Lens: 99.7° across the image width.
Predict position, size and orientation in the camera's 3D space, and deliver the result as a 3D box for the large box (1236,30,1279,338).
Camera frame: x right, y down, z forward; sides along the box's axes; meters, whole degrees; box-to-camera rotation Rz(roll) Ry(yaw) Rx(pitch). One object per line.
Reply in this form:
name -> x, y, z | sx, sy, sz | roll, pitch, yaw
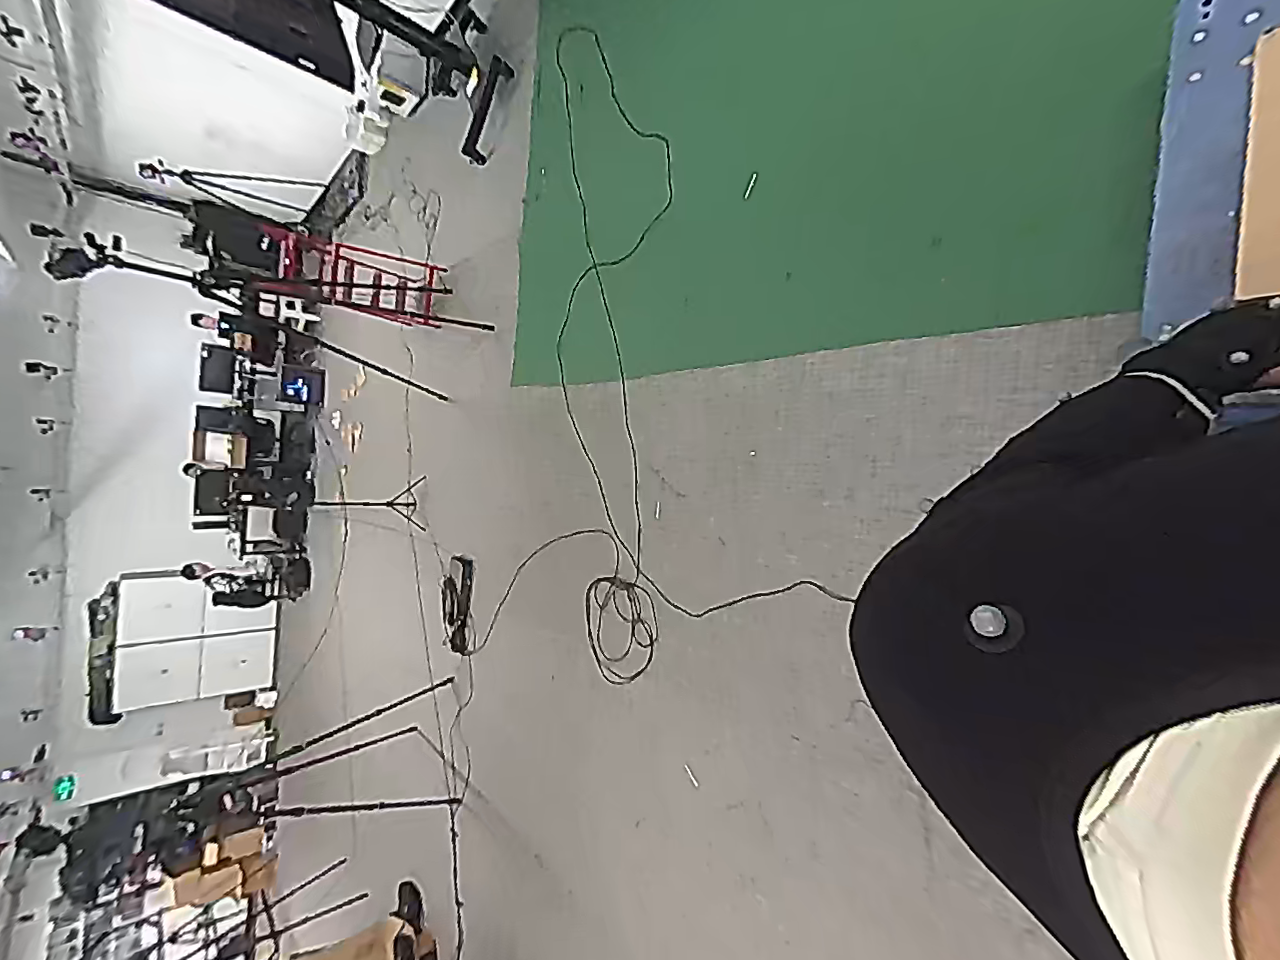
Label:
large box -> 1.143, -0.466, 0.815 | 0.320, 0.320, 0.408 | 4, 91, 48
